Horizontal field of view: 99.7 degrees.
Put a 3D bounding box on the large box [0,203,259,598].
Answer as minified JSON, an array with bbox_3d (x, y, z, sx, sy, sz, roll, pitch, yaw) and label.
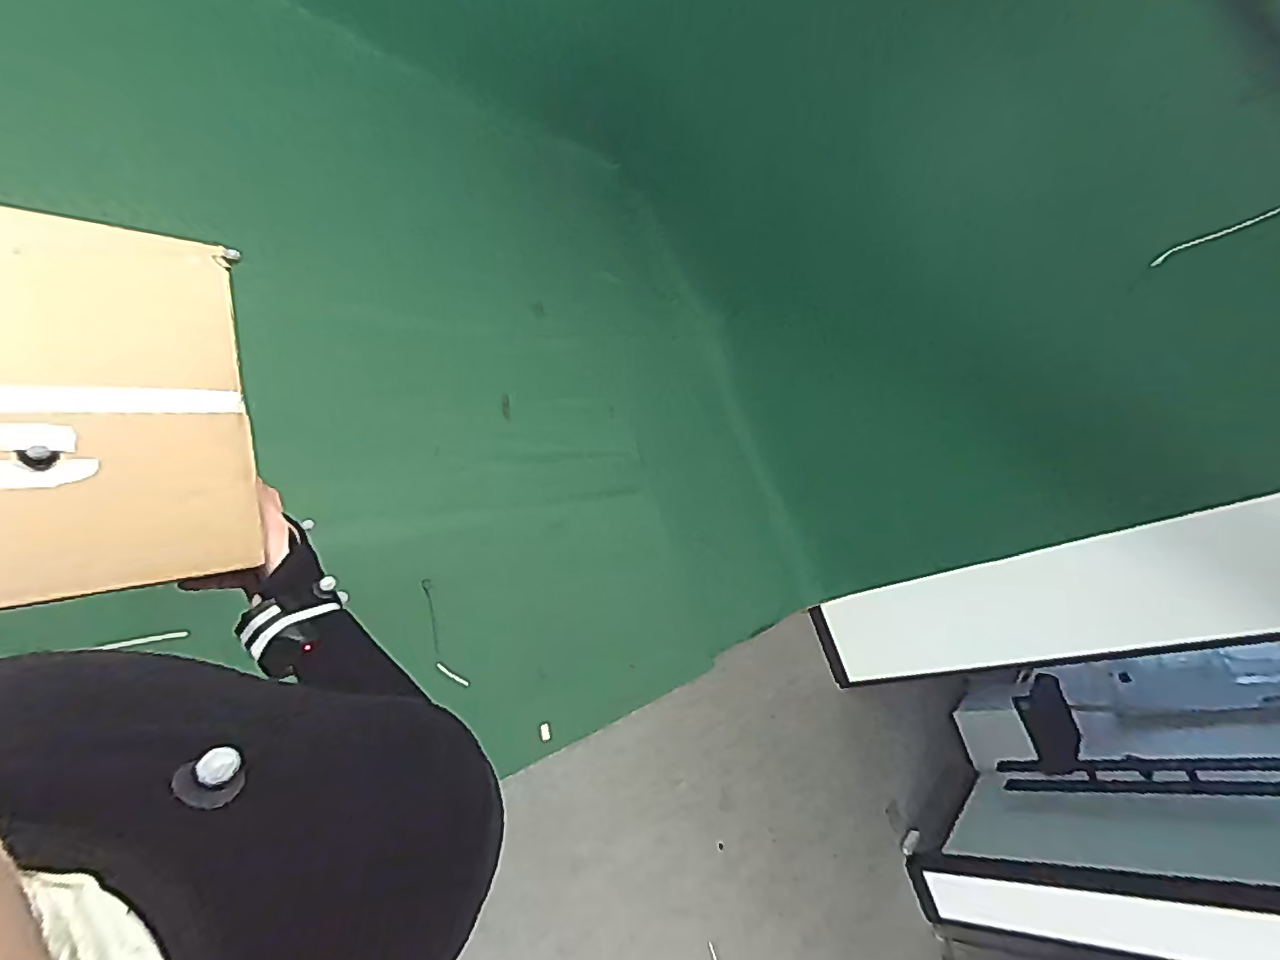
[{"bbox_3d":[-0.633,-0.043,0.482,0.408,0.320,0.320,-7,88,-47],"label":"large box"}]
